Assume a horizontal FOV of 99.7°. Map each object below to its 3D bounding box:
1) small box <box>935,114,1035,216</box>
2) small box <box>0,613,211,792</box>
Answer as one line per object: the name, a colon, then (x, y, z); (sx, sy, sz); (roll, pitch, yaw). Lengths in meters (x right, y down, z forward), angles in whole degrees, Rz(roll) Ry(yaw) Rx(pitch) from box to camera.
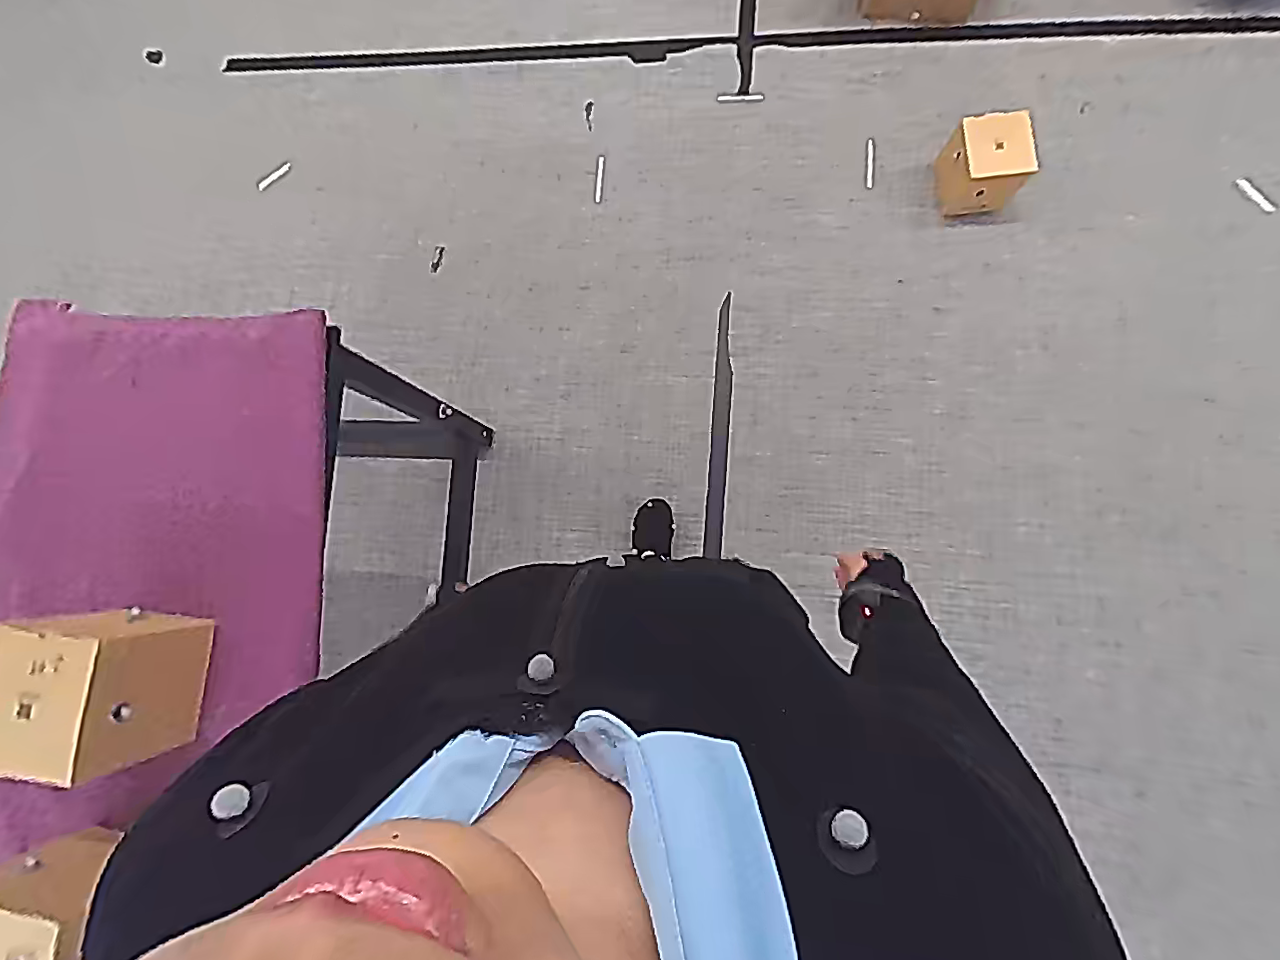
small box: (0.929, -0.845, 1.471); (0.168, 0.176, 0.179); (-4, 82, 5)
small box: (-0.739, 0.288, 0.739); (0.168, 0.176, 0.179); (5, 83, 6)
